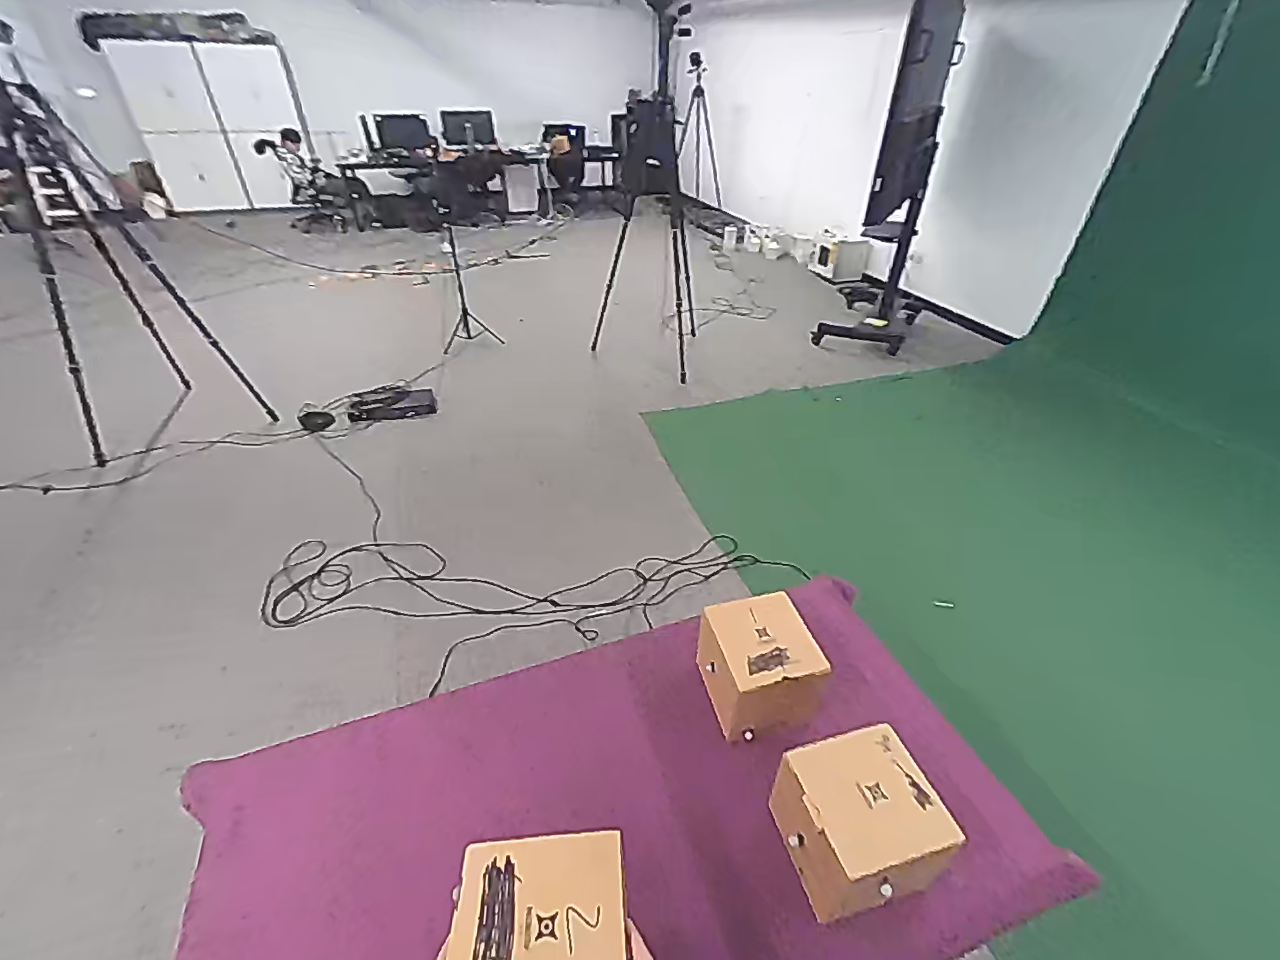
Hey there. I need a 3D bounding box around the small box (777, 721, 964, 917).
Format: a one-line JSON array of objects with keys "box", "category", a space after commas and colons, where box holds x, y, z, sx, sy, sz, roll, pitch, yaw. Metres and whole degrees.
[{"box": [0.310, 0.484, 0.774, 0.179, 0.176, 0.168, -9, 37, -12], "category": "small box"}]

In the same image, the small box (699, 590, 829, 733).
[{"box": [0.212, 0.331, 0.976, 0.168, 0.176, 0.179, -8, 37, -12], "category": "small box"}]
